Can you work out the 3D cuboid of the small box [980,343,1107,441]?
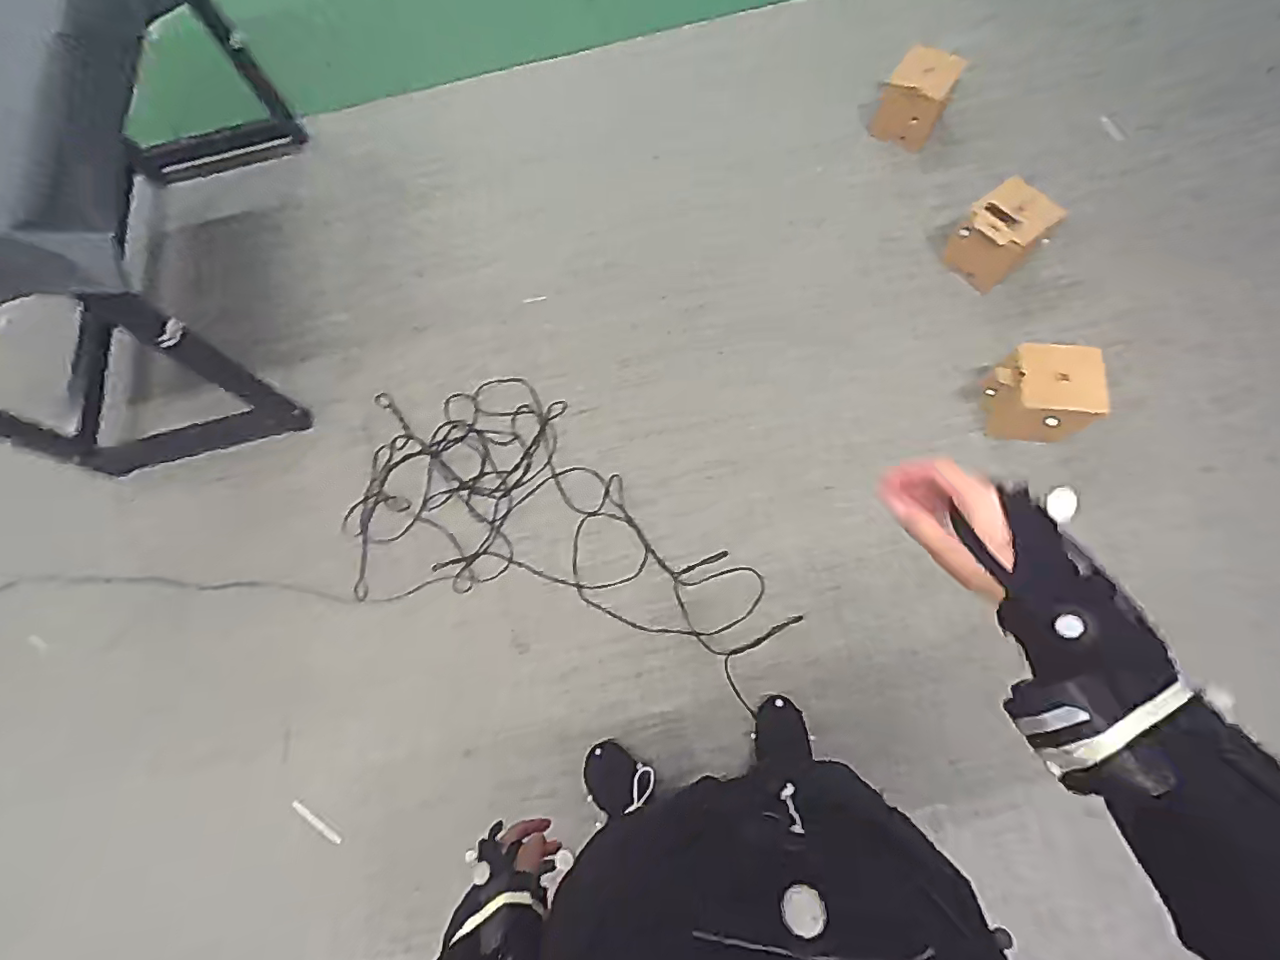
[{"bbox_3d":[0.933,-0.200,1.268,0.179,0.176,0.168,5,72,7],"label":"small box"}]

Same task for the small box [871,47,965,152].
[{"bbox_3d":[0.812,-1.122,1.604,0.168,0.176,0.179,32,75,13],"label":"small box"}]
